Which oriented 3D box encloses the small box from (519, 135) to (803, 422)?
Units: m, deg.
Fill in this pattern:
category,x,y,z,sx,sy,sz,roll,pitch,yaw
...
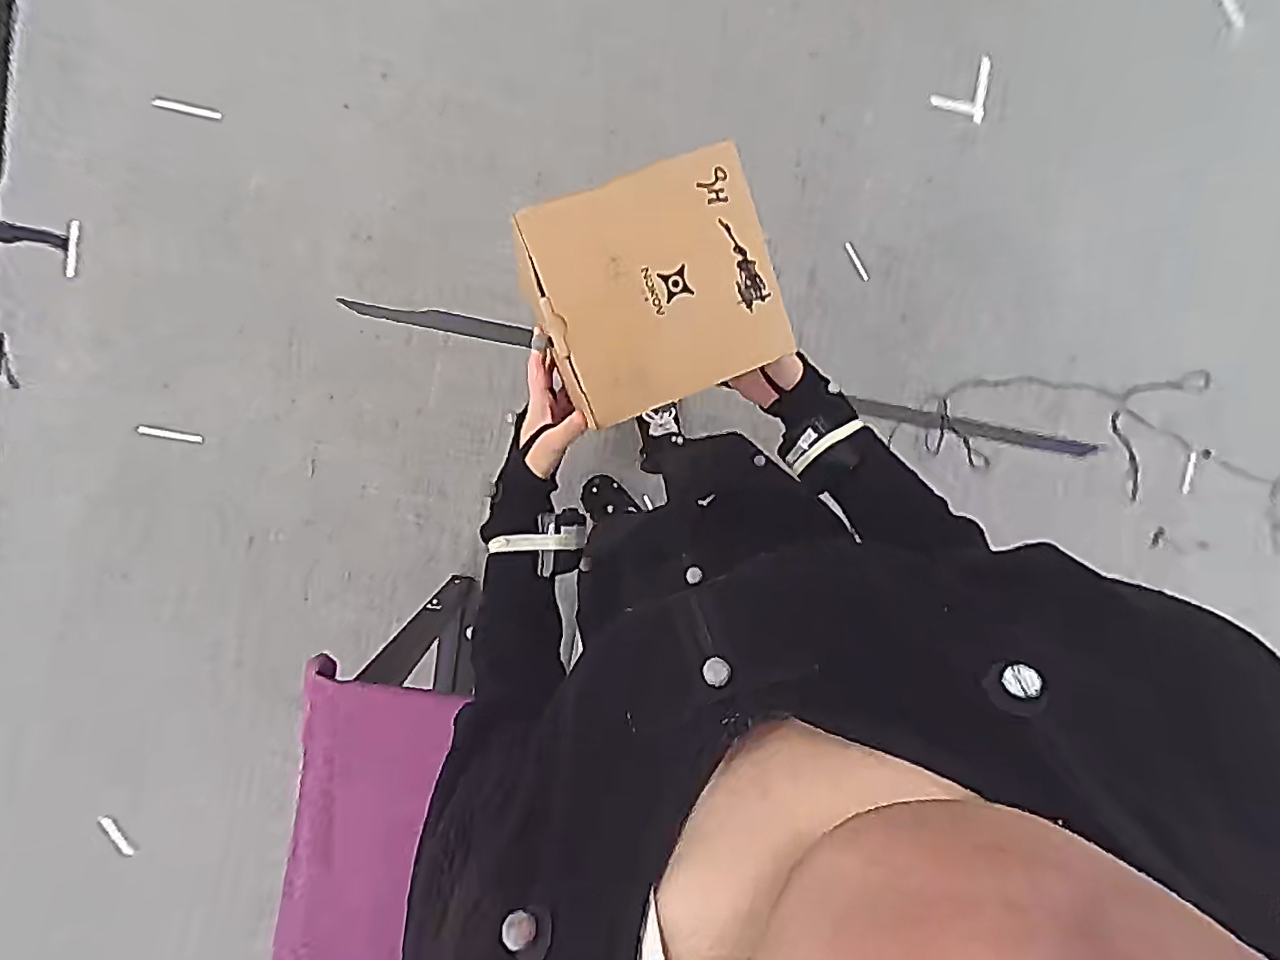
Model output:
category,x,y,z,sx,sy,sz,roll,pitch,yaw
small box,0.009,-0.158,0.477,0.179,0.176,0.168,-22,102,-6
